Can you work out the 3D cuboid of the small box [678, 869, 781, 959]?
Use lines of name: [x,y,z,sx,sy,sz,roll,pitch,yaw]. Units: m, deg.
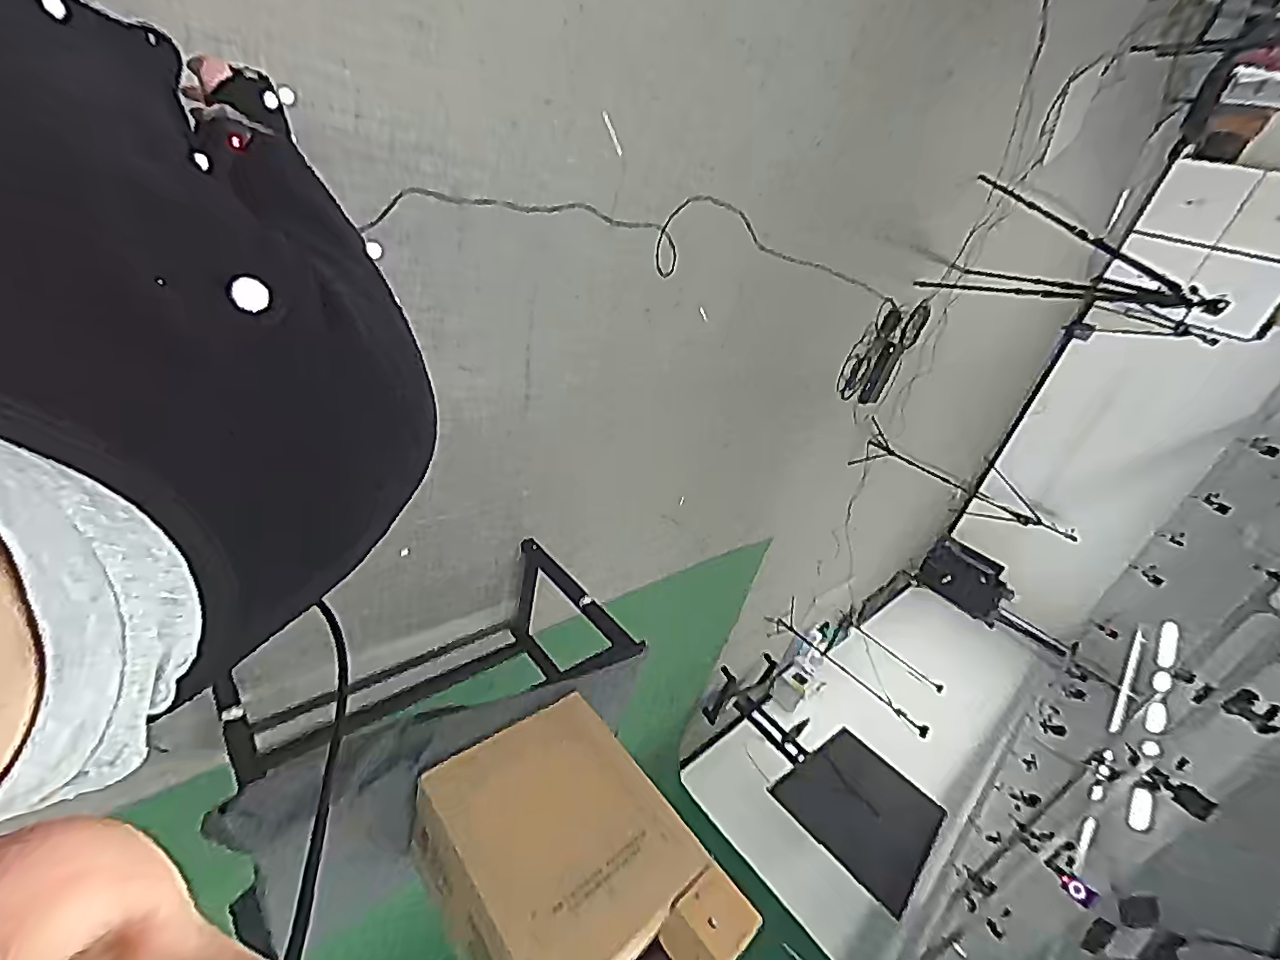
small box: [0.219,1.133,1.361,0.168,0.176,0.179,-13,128,-44]
